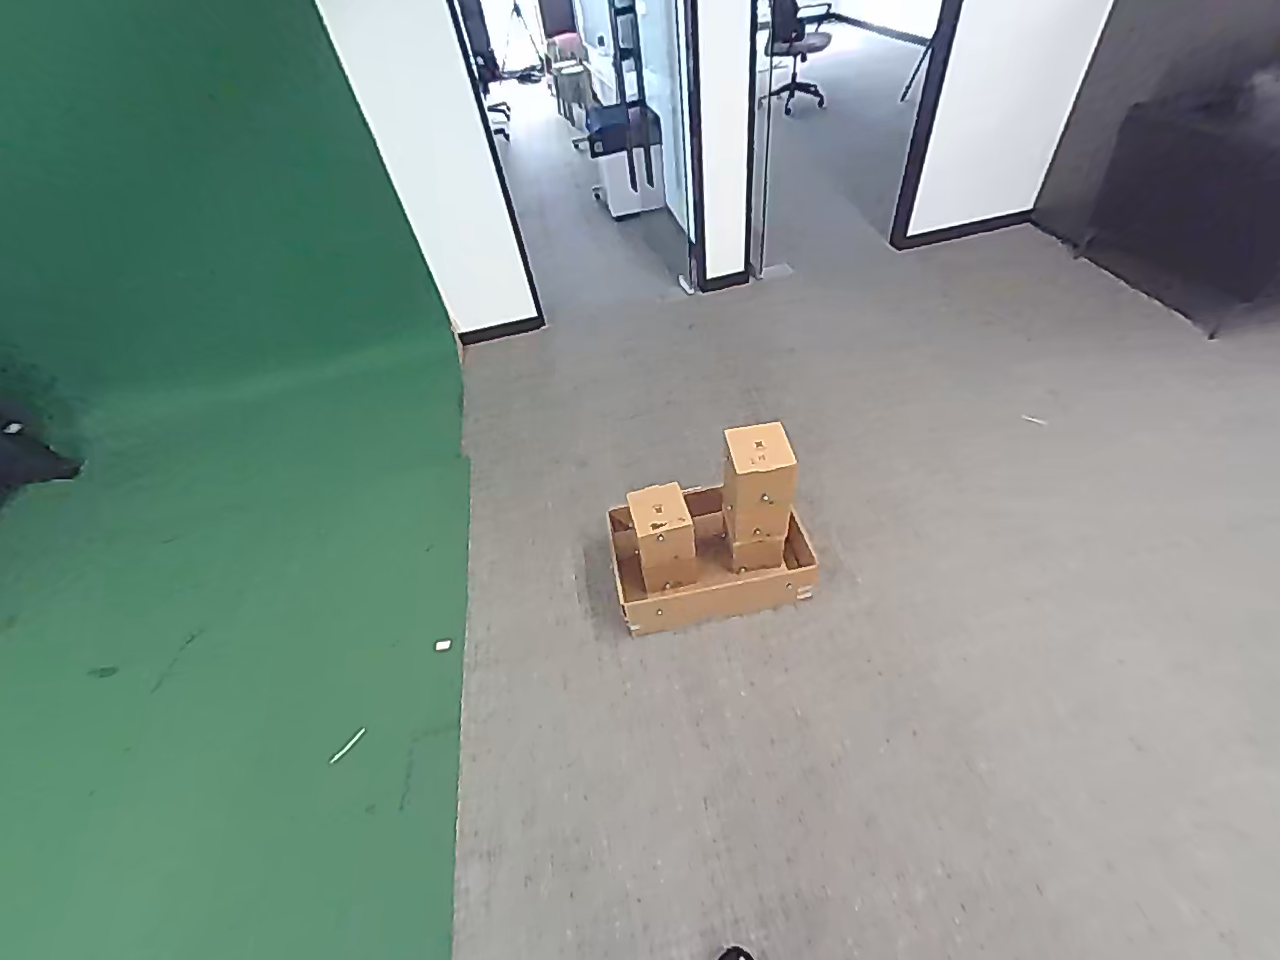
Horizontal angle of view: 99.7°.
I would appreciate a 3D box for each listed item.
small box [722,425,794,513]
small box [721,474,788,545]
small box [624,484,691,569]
[{"bbox_3d":[0.330,-0.031,1.548,0.168,0.176,0.179,-8,49,1],"label":"small box"},{"bbox_3d":[0.346,0.077,1.673,0.168,0.176,0.179,-8,49,0],"label":"small box"},{"bbox_3d":[0.054,0.143,1.654,0.168,0.176,0.179,-14,47,-3],"label":"small box"}]
